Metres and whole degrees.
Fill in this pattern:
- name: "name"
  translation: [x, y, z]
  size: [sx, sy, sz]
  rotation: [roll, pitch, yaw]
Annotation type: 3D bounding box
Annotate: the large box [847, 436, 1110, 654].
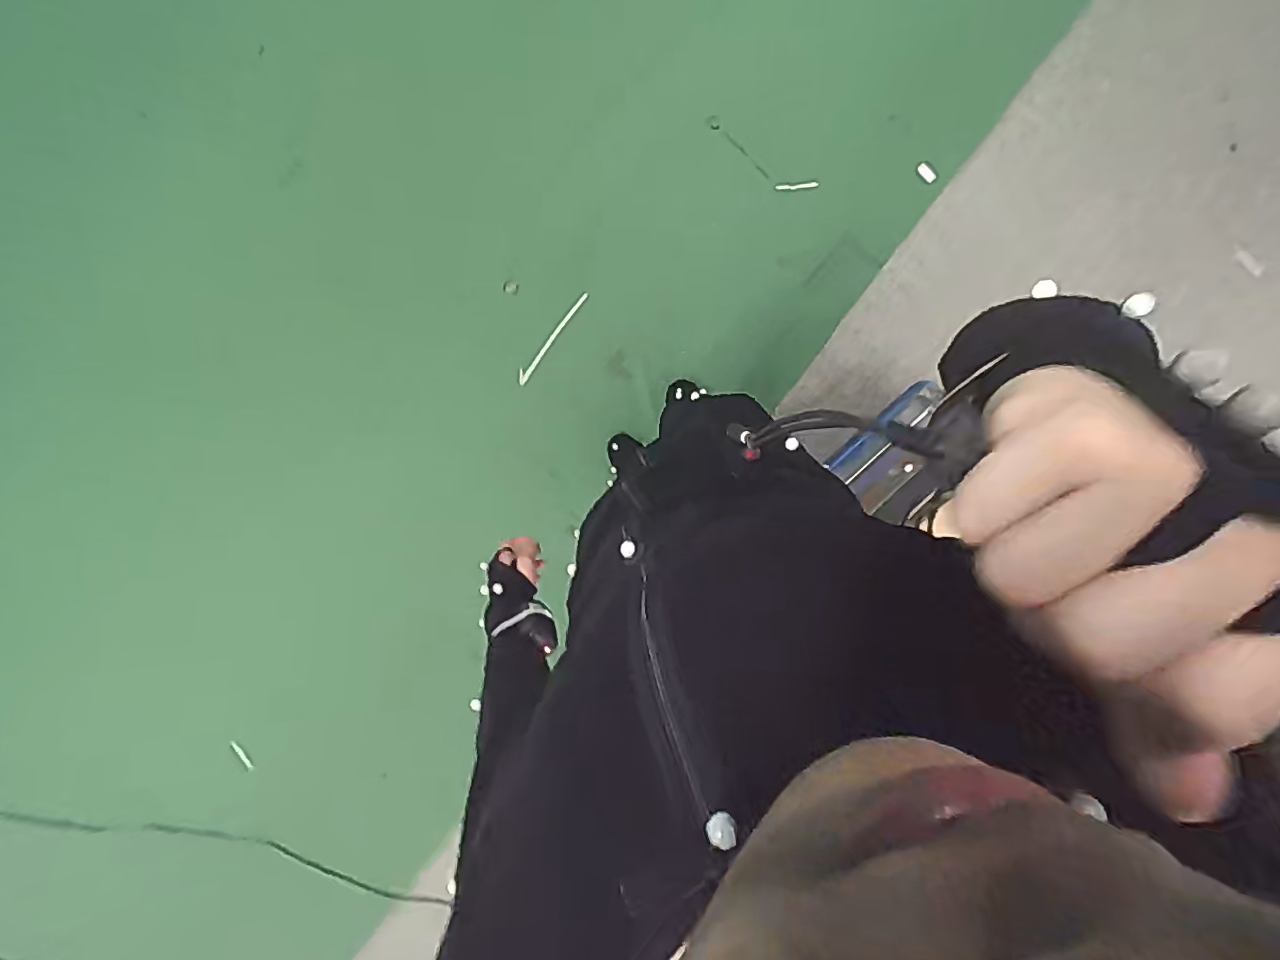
- name: "large box"
  translation: [0.811, 0.138, 1.349]
  size: [0.320, 0.320, 0.408]
  rotation: [-42, 98, 3]
